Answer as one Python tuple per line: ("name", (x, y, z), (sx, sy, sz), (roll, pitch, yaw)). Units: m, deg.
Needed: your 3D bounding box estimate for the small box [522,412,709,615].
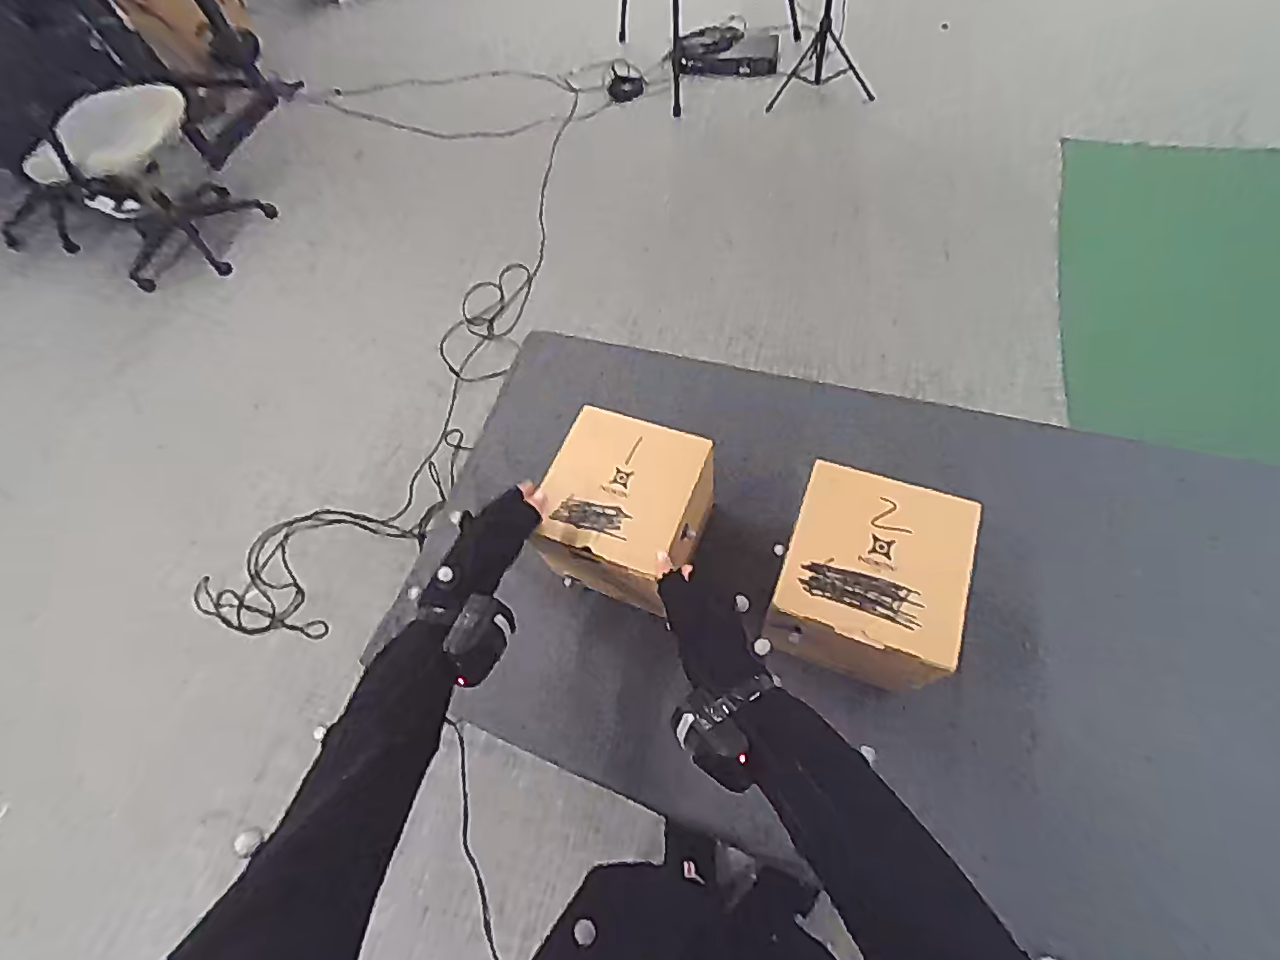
("small box", (-0.015, 0.048, 0.675), (0.168, 0.176, 0.179), (18, 65, 16))
